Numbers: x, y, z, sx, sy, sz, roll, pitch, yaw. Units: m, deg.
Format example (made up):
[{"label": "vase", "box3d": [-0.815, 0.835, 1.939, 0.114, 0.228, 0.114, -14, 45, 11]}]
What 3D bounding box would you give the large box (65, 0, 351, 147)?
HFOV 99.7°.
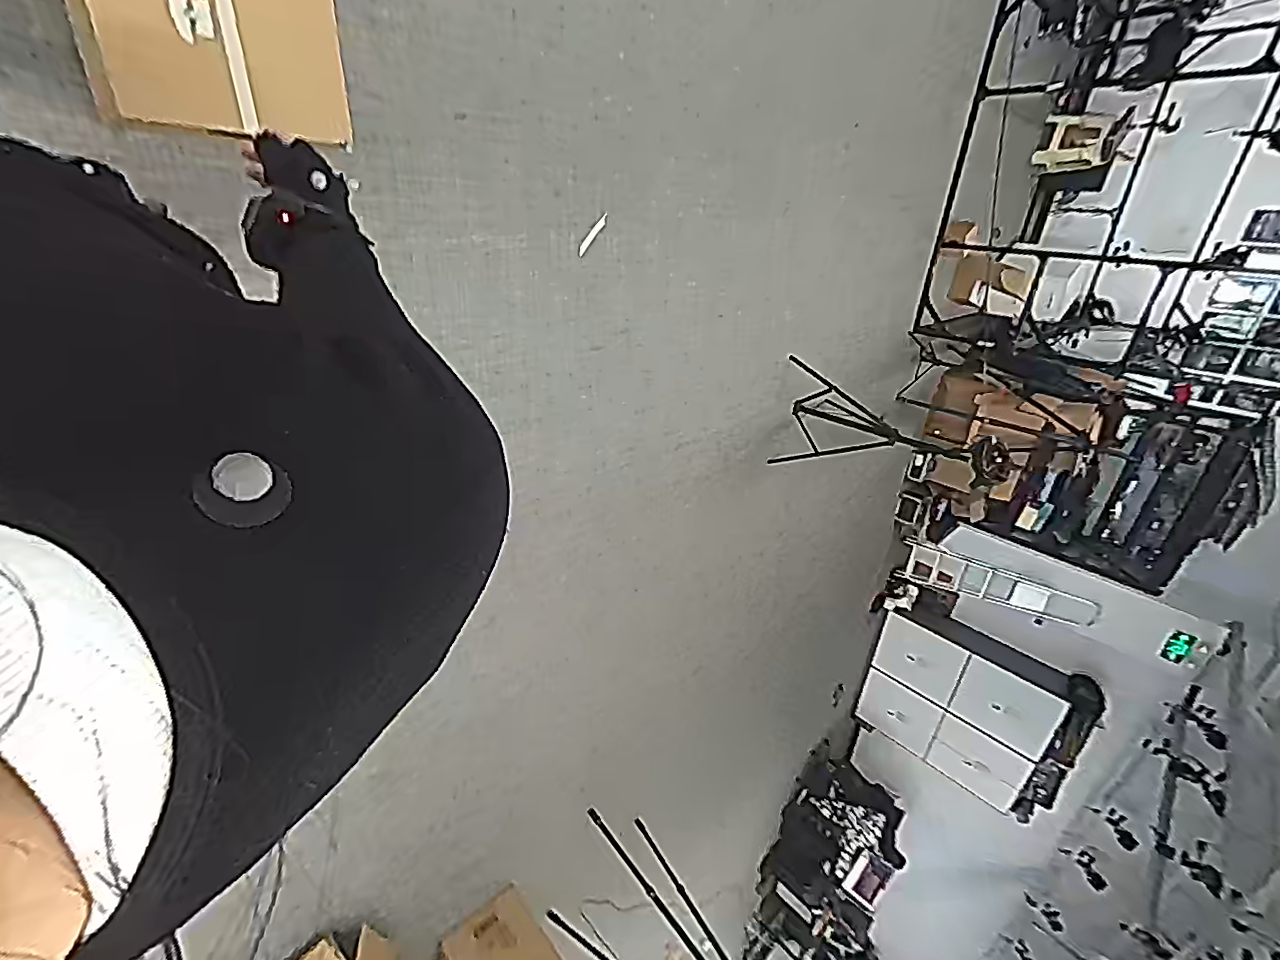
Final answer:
[{"label": "large box", "box3d": [-0.715, -0.786, 0.866, 0.320, 0.320, 0.408, -20, 126, -39]}]
